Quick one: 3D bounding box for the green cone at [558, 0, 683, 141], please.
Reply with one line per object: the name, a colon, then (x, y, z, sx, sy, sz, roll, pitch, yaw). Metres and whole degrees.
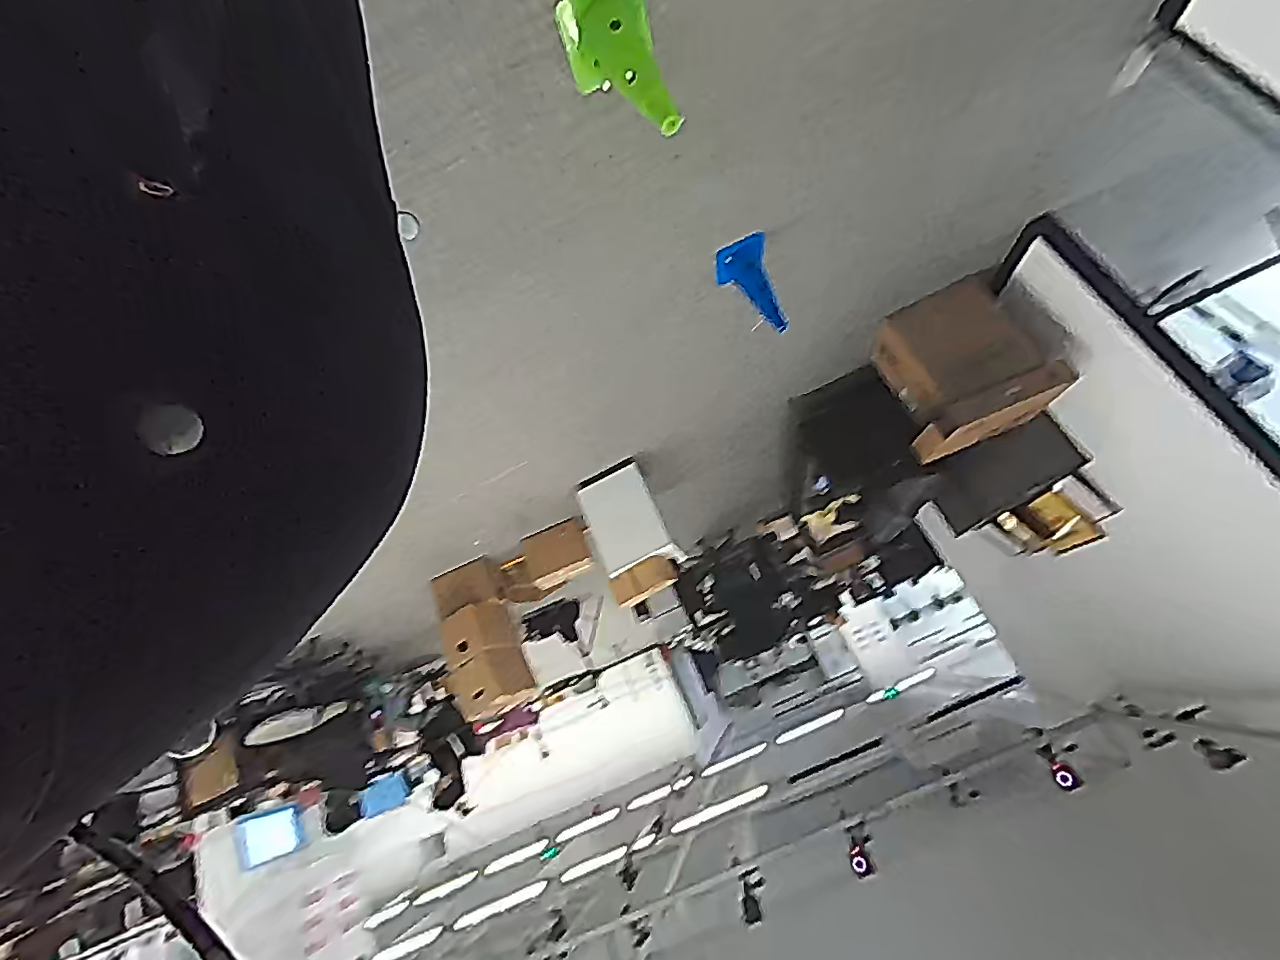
green cone: (-0.005, -0.860, 1.157, 0.200, 0.368, 0.202, -26, 159, 4)
